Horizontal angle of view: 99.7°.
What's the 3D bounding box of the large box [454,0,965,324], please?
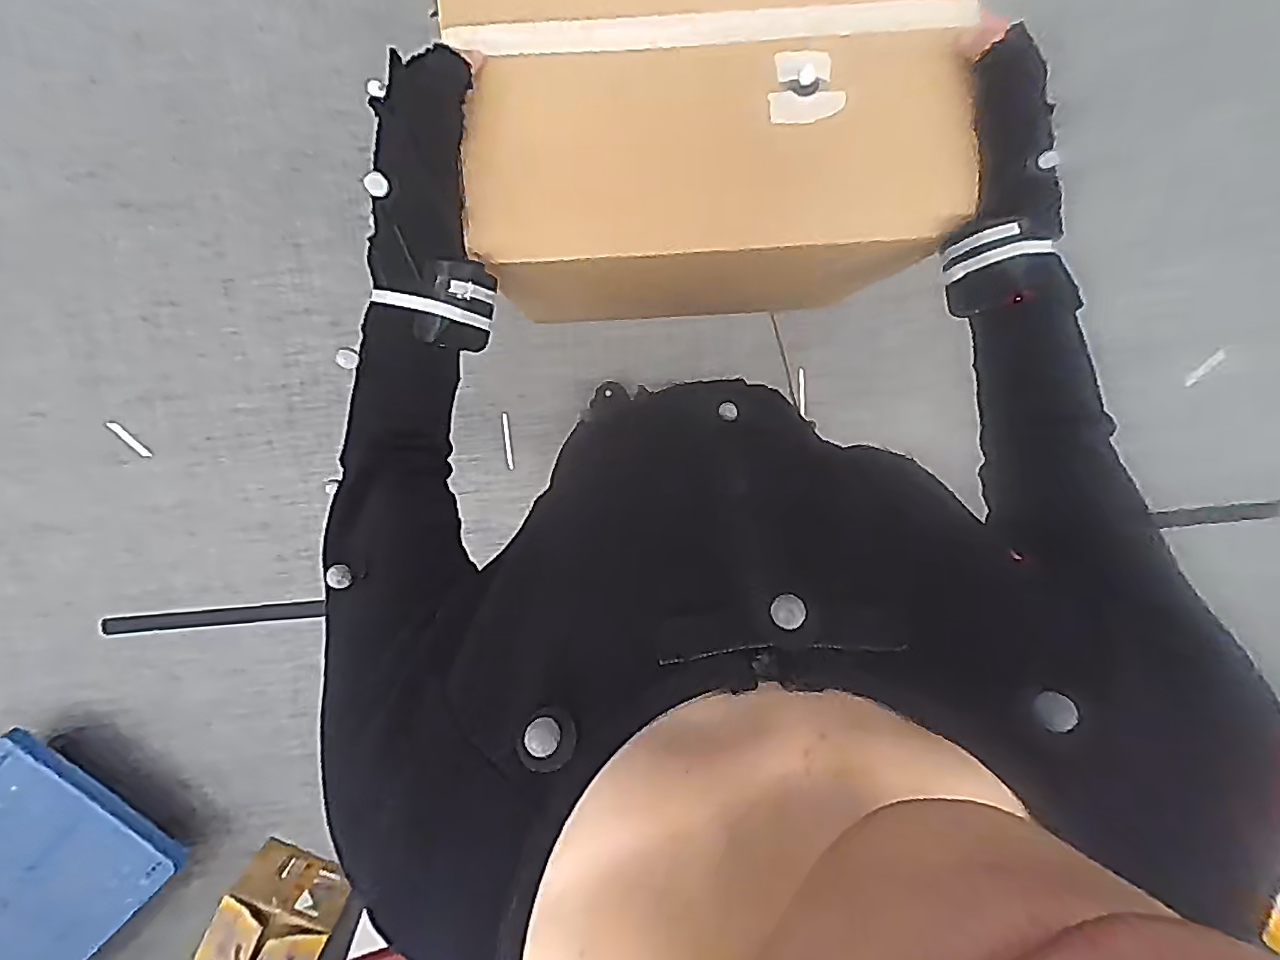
[{"bbox_3d":[0.052,-0.361,0.570,0.408,0.320,0.320,-4,97,-1],"label":"large box"}]
